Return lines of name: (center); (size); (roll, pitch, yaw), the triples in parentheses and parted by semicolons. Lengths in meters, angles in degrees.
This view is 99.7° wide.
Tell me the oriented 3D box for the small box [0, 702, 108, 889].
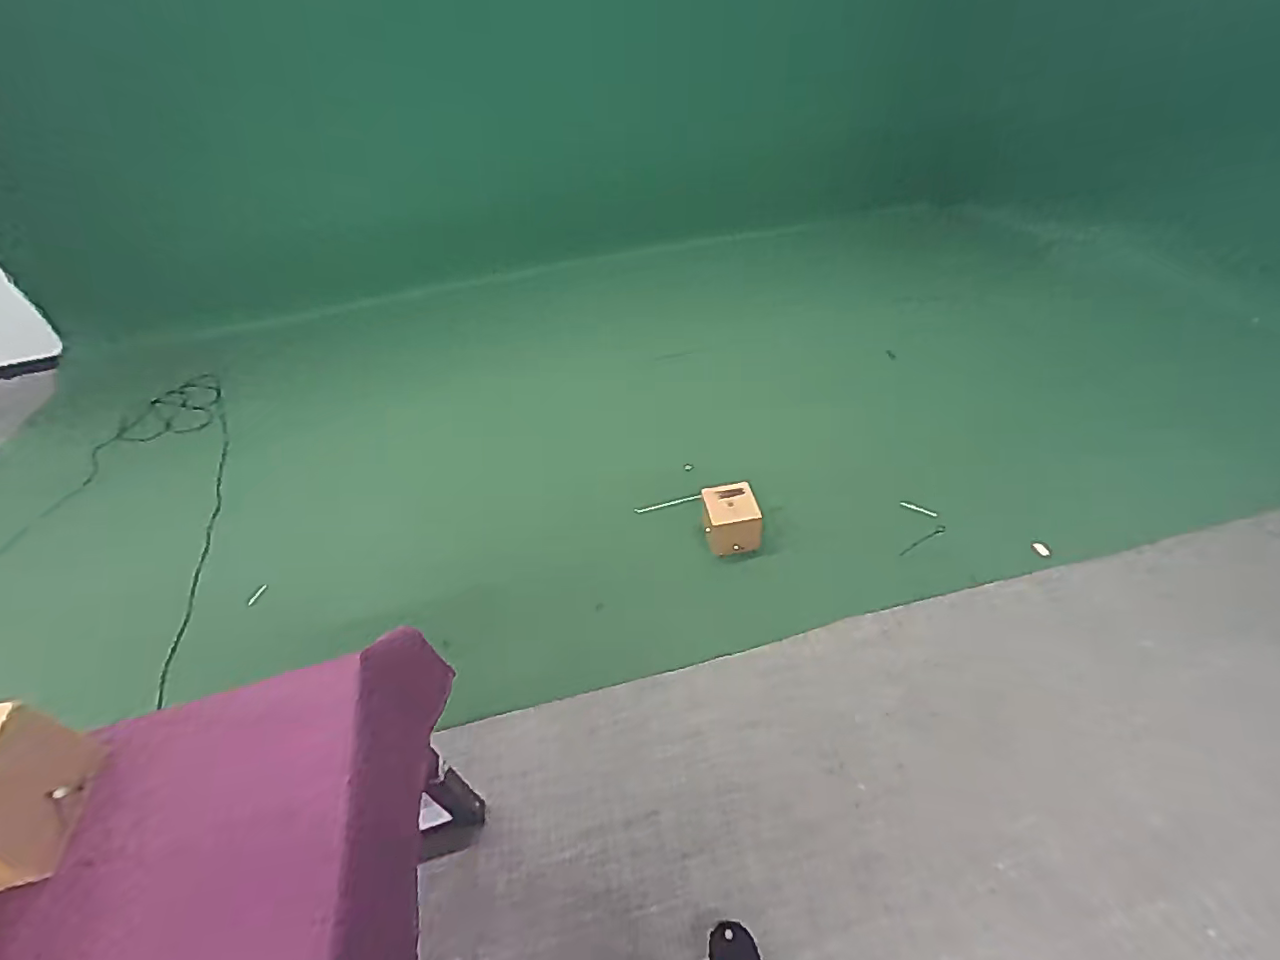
small box: (-0.864, 0.418, 0.690); (0.179, 0.176, 0.168); (-11, 44, -8)
